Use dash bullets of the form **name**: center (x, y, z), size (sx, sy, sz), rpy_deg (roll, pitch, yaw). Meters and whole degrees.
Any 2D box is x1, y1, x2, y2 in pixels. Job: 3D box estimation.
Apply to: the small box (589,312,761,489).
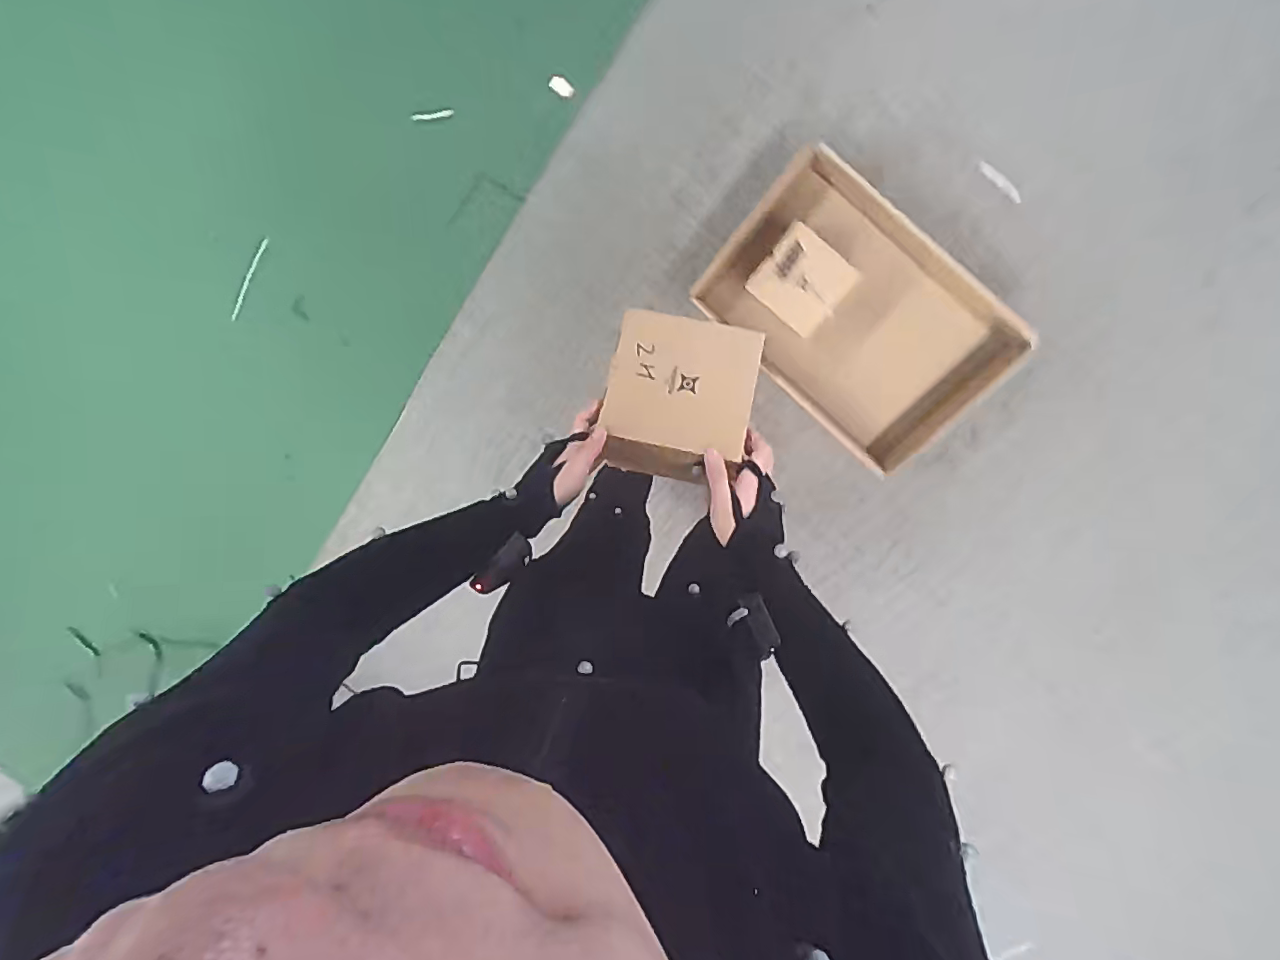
- **small box**: center (0.046, -0.093, 0.715), size (0.179, 0.176, 0.168), rpy_deg (12, 77, 6)
